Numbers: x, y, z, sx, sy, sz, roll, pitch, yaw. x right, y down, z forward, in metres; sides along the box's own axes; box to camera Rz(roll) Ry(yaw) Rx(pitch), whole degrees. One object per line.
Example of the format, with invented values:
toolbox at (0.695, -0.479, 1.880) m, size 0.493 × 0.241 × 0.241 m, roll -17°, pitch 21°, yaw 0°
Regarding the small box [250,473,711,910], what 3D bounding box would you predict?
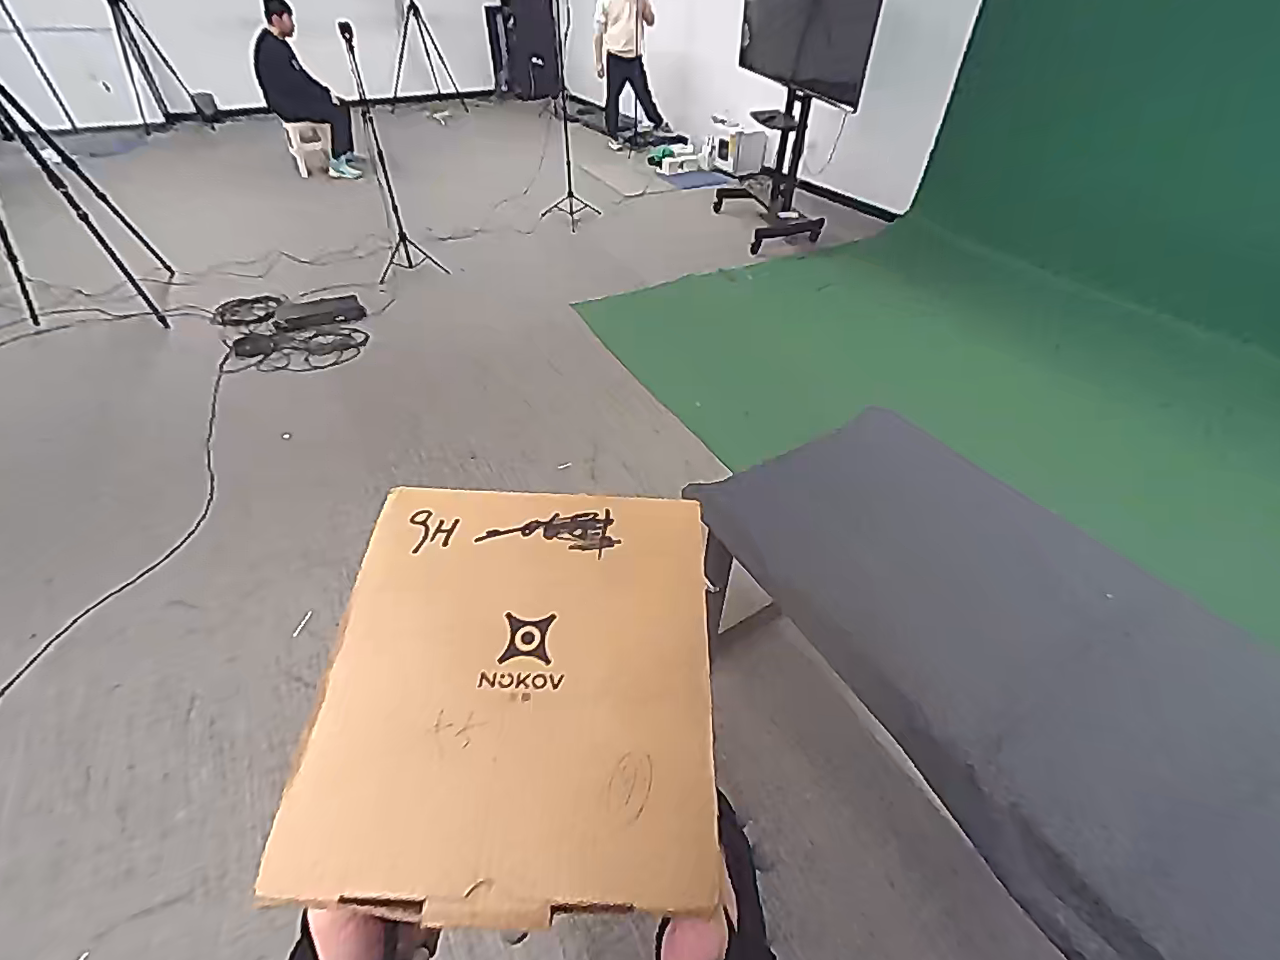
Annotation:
small box at (-0.059, 0.118, 0.301) m, size 0.168 × 0.176 × 0.179 m, roll 4°, pitch 56°, yaw -4°
